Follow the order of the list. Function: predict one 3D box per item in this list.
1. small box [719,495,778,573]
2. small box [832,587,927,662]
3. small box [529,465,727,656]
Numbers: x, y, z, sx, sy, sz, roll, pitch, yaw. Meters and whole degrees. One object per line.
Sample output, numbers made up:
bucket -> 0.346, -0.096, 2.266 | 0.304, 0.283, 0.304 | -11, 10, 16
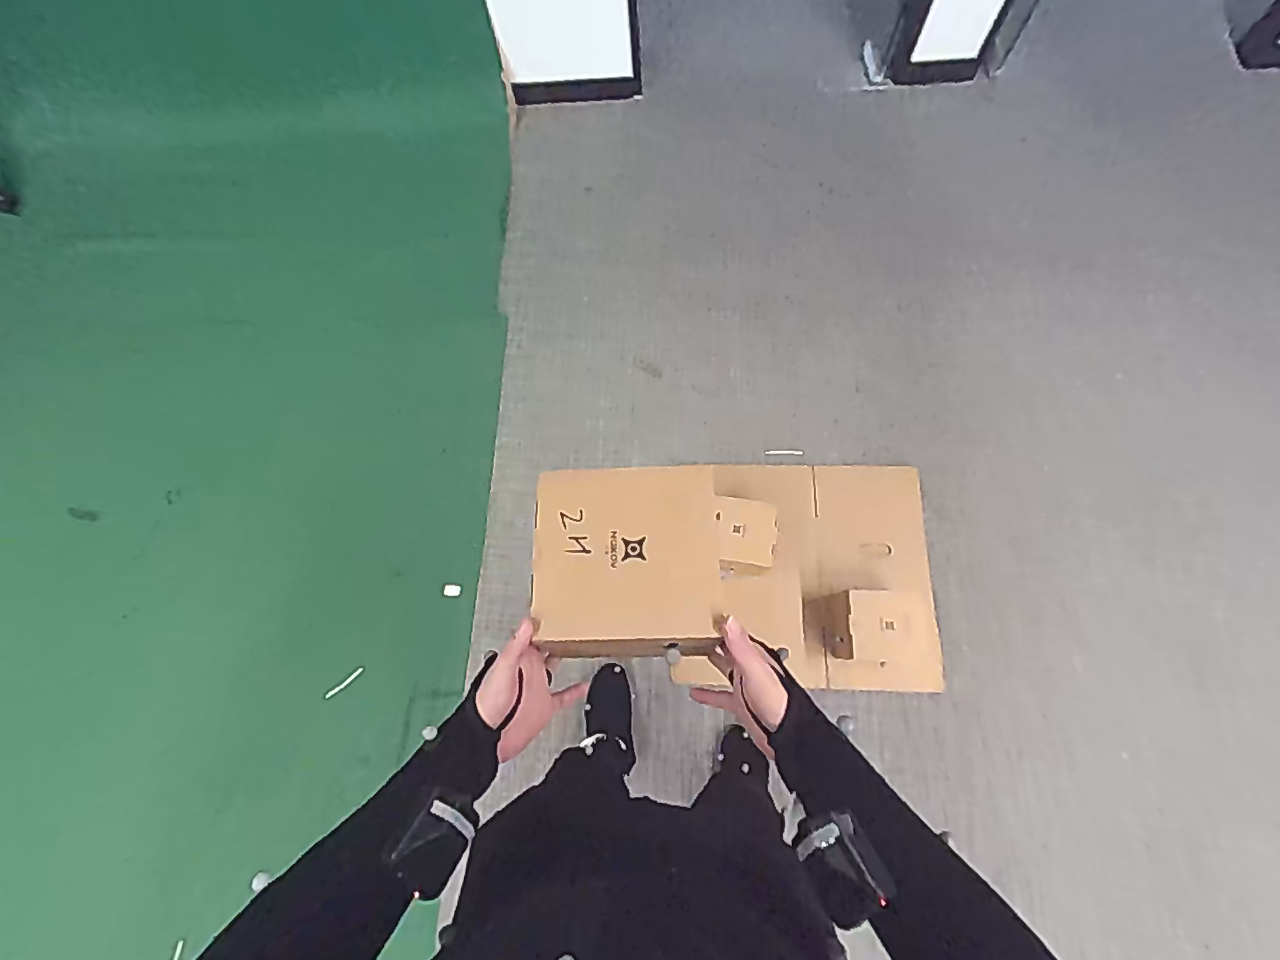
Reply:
small box -> 0.255, 0.149, 1.437 | 0.179, 0.176, 0.168 | 9, 74, 6
small box -> 0.588, 0.364, 1.353 | 0.179, 0.176, 0.168 | 1, 74, 5
small box -> -0.007, 0.092, 0.576 | 0.179, 0.176, 0.168 | -1, 66, 3
